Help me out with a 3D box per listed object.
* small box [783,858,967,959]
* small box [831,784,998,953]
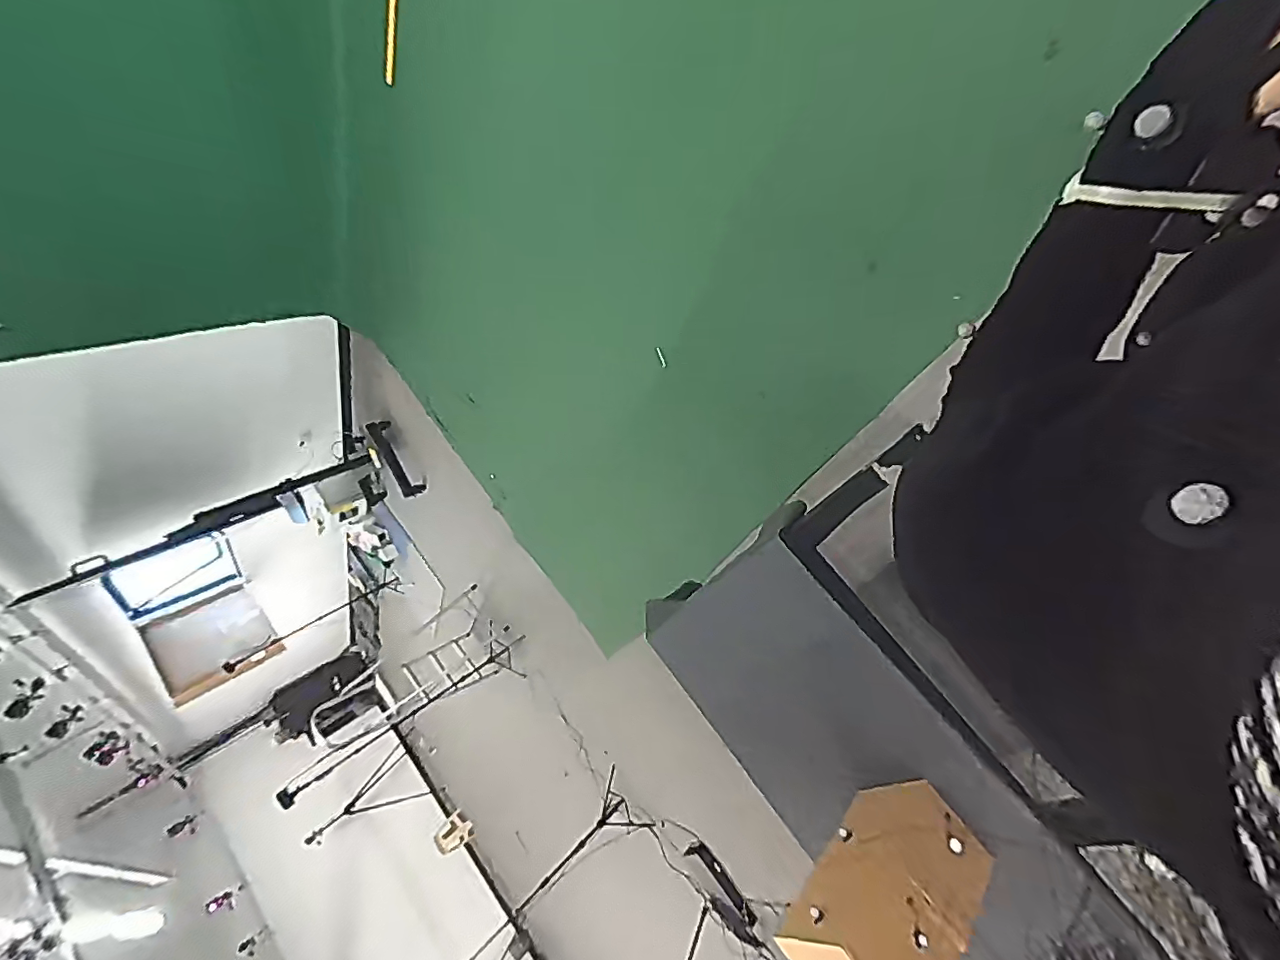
[{"bbox_3d":[0.370,0.735,0.854,0.168,0.176,0.179,50,140,14],"label":"small box"},{"bbox_3d":[0.483,0.672,0.952,0.168,0.176,0.179,50,140,13],"label":"small box"}]
